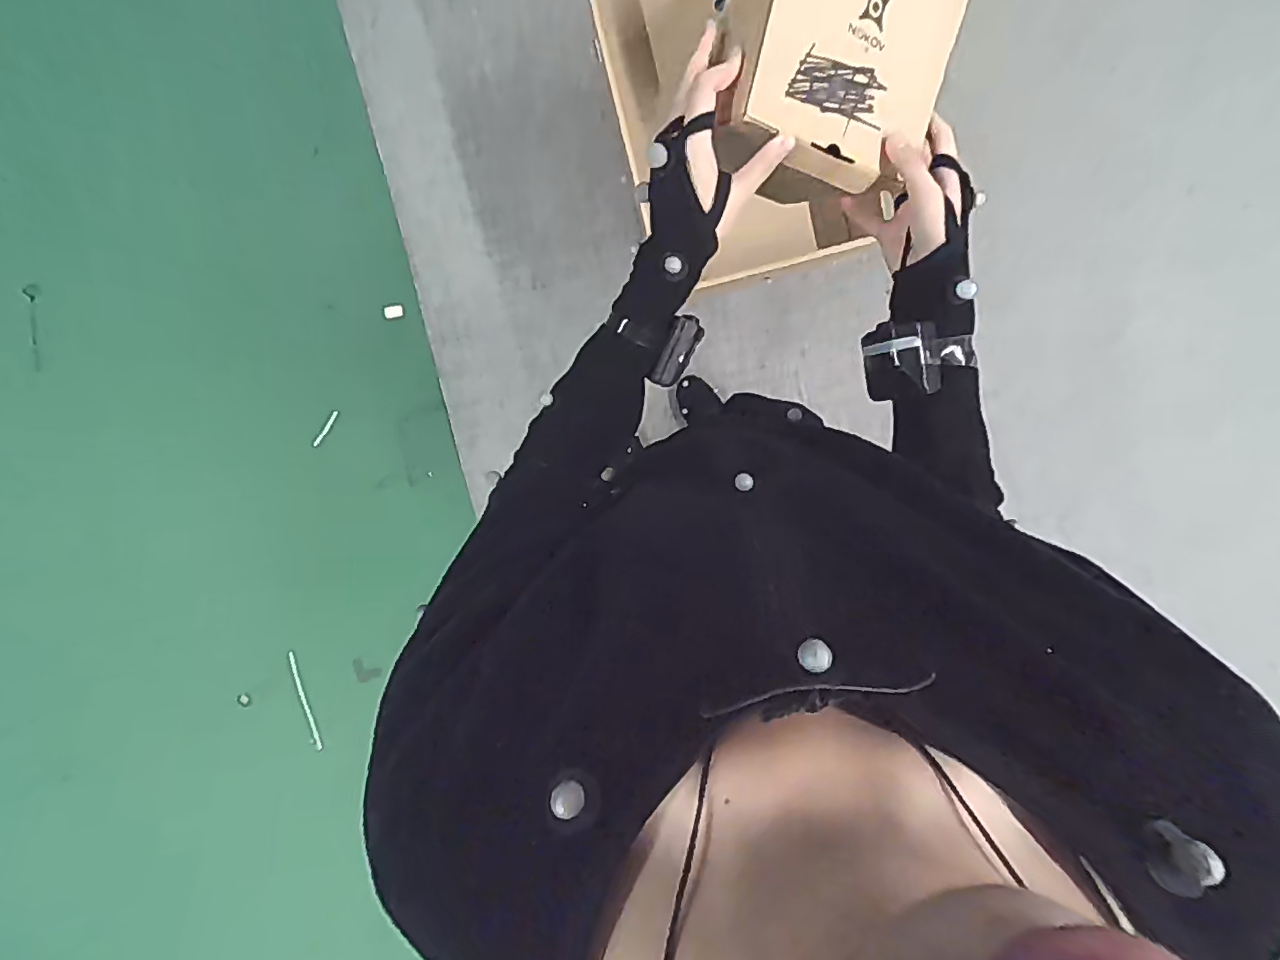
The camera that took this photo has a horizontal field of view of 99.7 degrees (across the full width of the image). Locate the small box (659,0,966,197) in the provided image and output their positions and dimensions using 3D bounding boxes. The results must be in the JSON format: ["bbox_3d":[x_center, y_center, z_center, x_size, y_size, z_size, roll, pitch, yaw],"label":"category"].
[{"bbox_3d":[0.131,-0.356,0.453,0.168,0.176,0.179,5,108,-25],"label":"small box"}]
